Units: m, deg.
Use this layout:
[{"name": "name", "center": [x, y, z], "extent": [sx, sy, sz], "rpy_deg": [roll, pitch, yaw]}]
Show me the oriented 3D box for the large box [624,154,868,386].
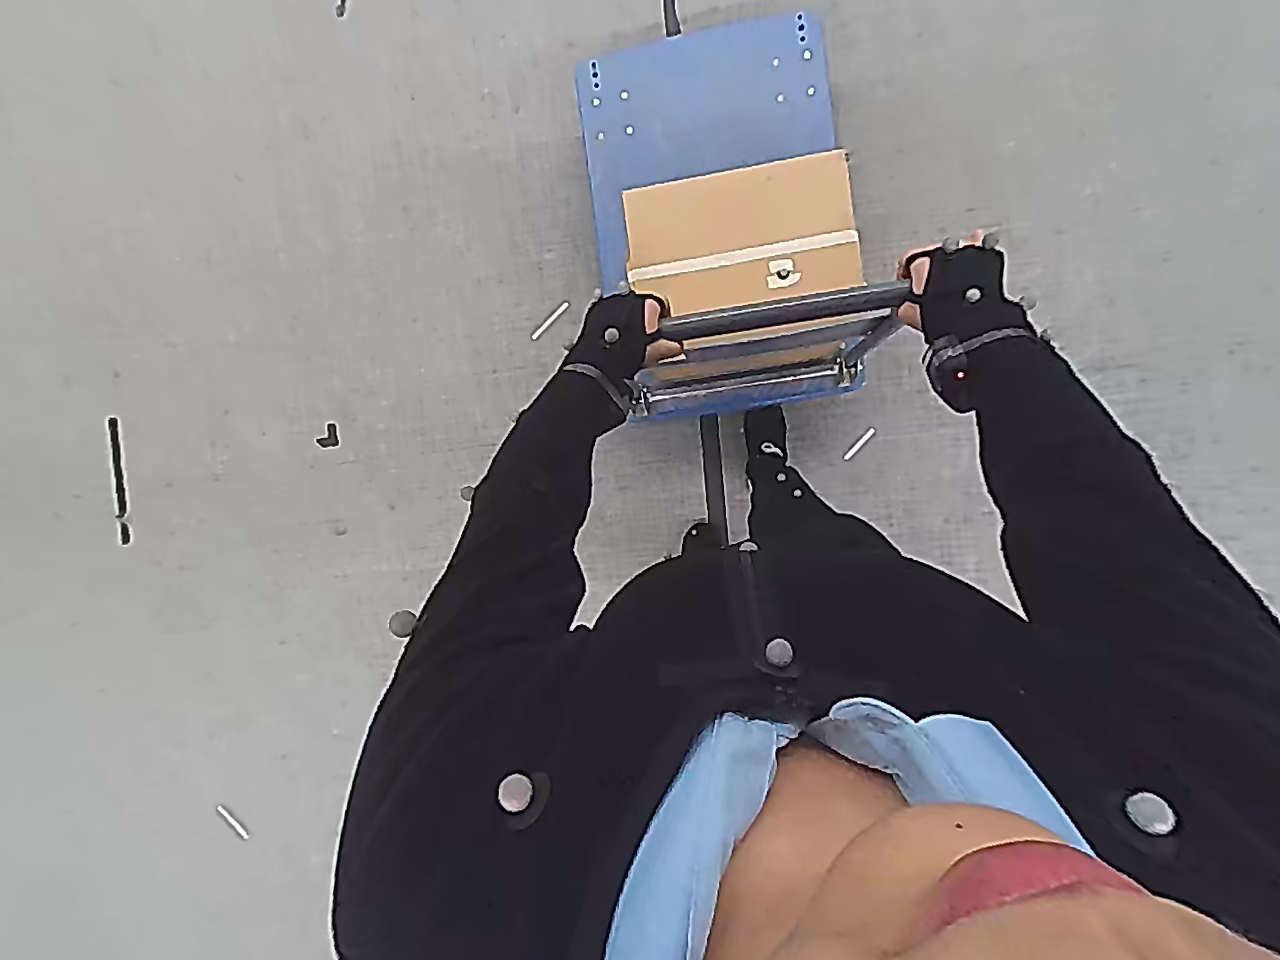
[{"name": "large box", "center": [0.201, -0.396, 1.116], "extent": [0.408, 0.320, 0.320], "rpy_deg": [-8, 92, 6]}]
